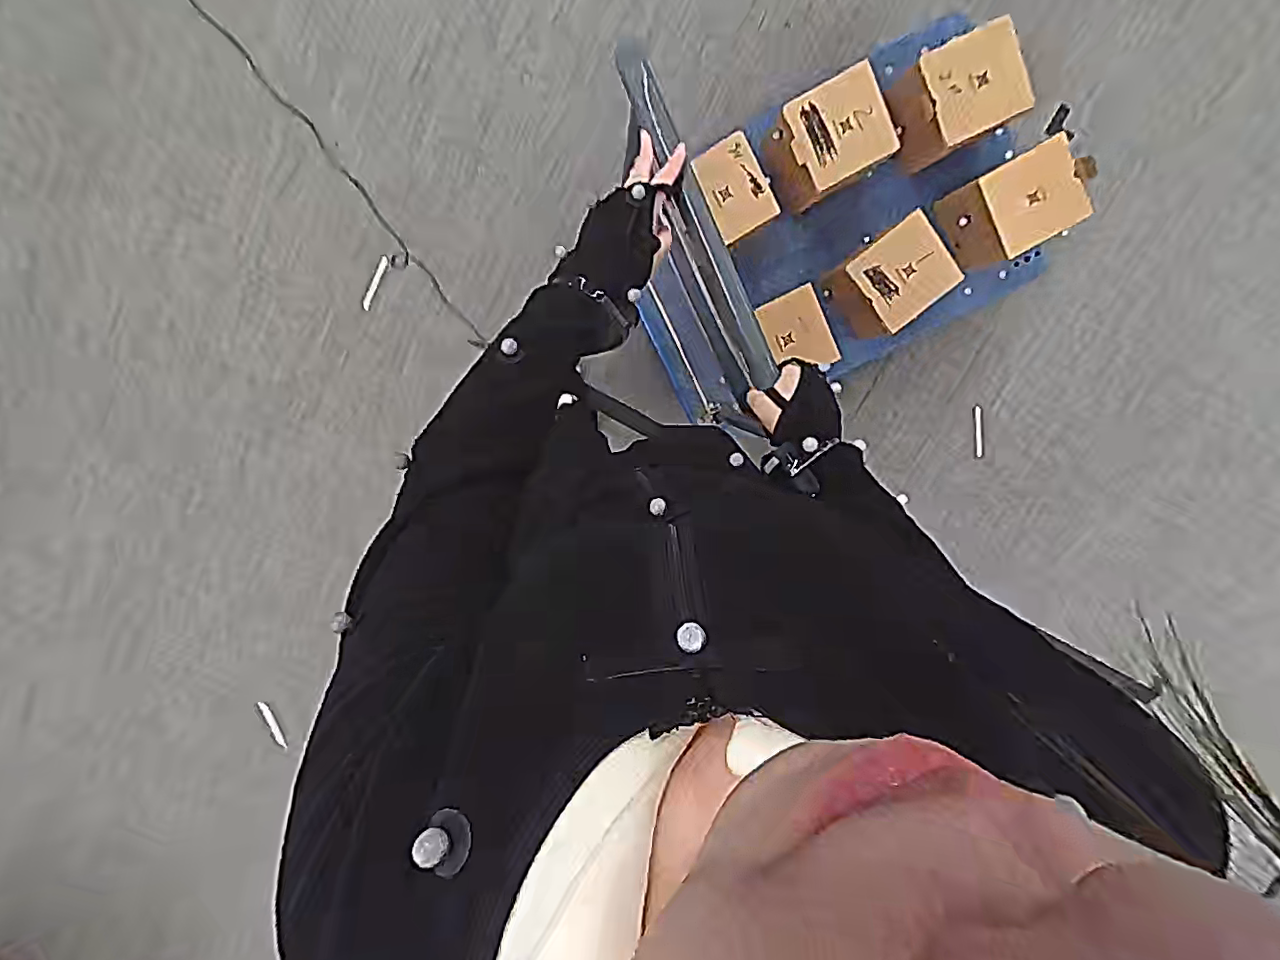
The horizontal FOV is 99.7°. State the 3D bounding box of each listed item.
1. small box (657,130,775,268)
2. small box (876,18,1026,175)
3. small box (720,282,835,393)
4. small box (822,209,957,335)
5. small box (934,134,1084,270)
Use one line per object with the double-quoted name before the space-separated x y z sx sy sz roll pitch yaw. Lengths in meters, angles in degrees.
"small box" 0.146 -0.556 1.102 0.179 0.176 0.168 -29 102 5
"small box" 0.607 -0.745 1.073 0.179 0.176 0.168 -24 101 4
"small box" 0.283 -0.298 1.161 0.179 0.176 0.168 -26 102 4
"small box" 0.508 -0.423 1.138 0.179 0.176 0.168 -38 100 6
"small box" 0.744 -0.558 1.116 0.179 0.176 0.168 -29 100 5
